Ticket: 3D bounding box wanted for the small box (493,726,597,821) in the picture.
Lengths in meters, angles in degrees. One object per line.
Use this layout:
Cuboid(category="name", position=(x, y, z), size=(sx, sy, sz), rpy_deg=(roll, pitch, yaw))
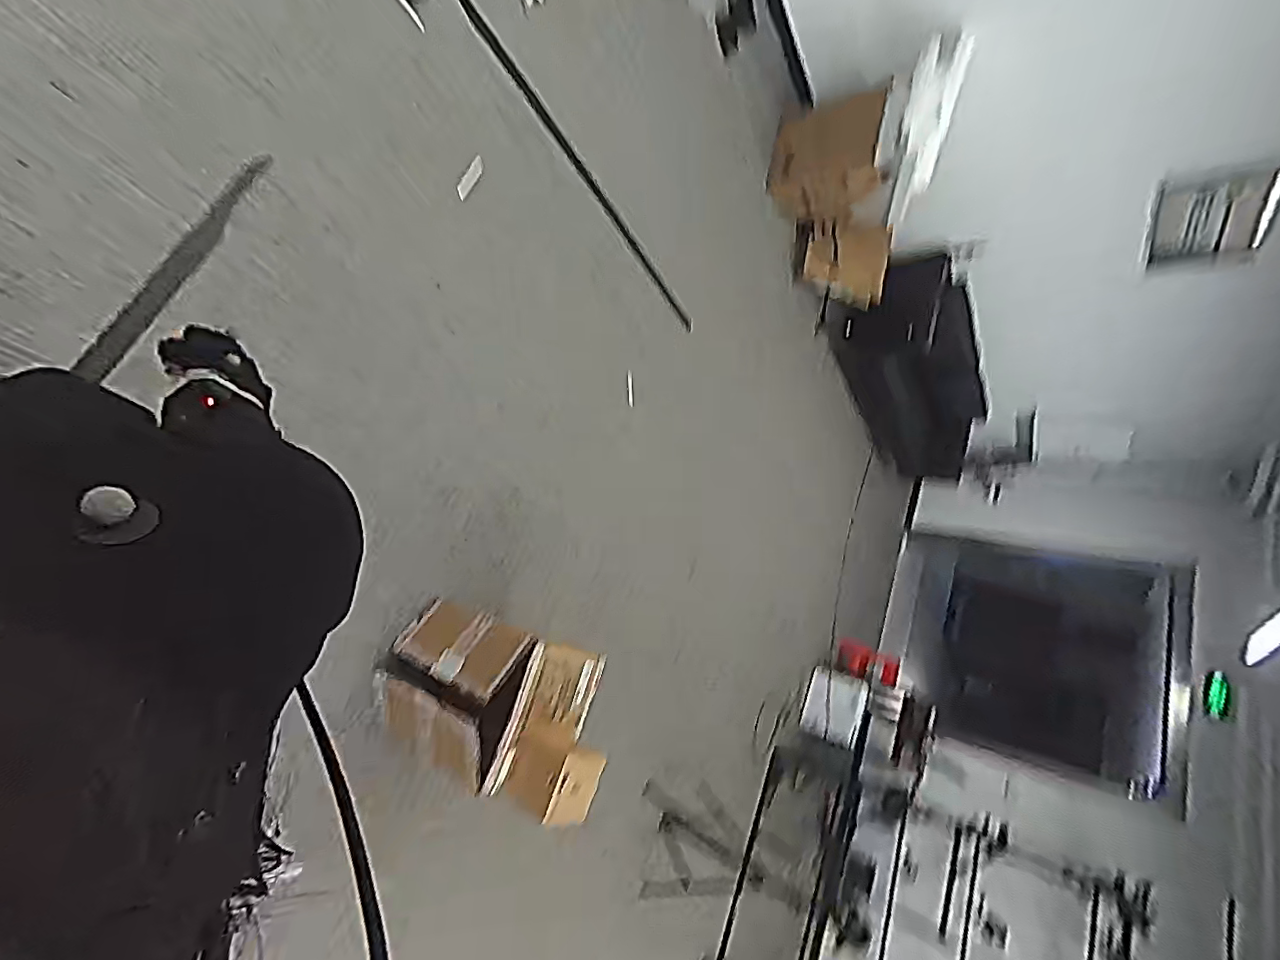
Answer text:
Cuboid(category="small box", position=(-0.249, 0.764, 1.422), size=(0.179, 0.176, 0.168), rpy_deg=(38, 67, -50))
